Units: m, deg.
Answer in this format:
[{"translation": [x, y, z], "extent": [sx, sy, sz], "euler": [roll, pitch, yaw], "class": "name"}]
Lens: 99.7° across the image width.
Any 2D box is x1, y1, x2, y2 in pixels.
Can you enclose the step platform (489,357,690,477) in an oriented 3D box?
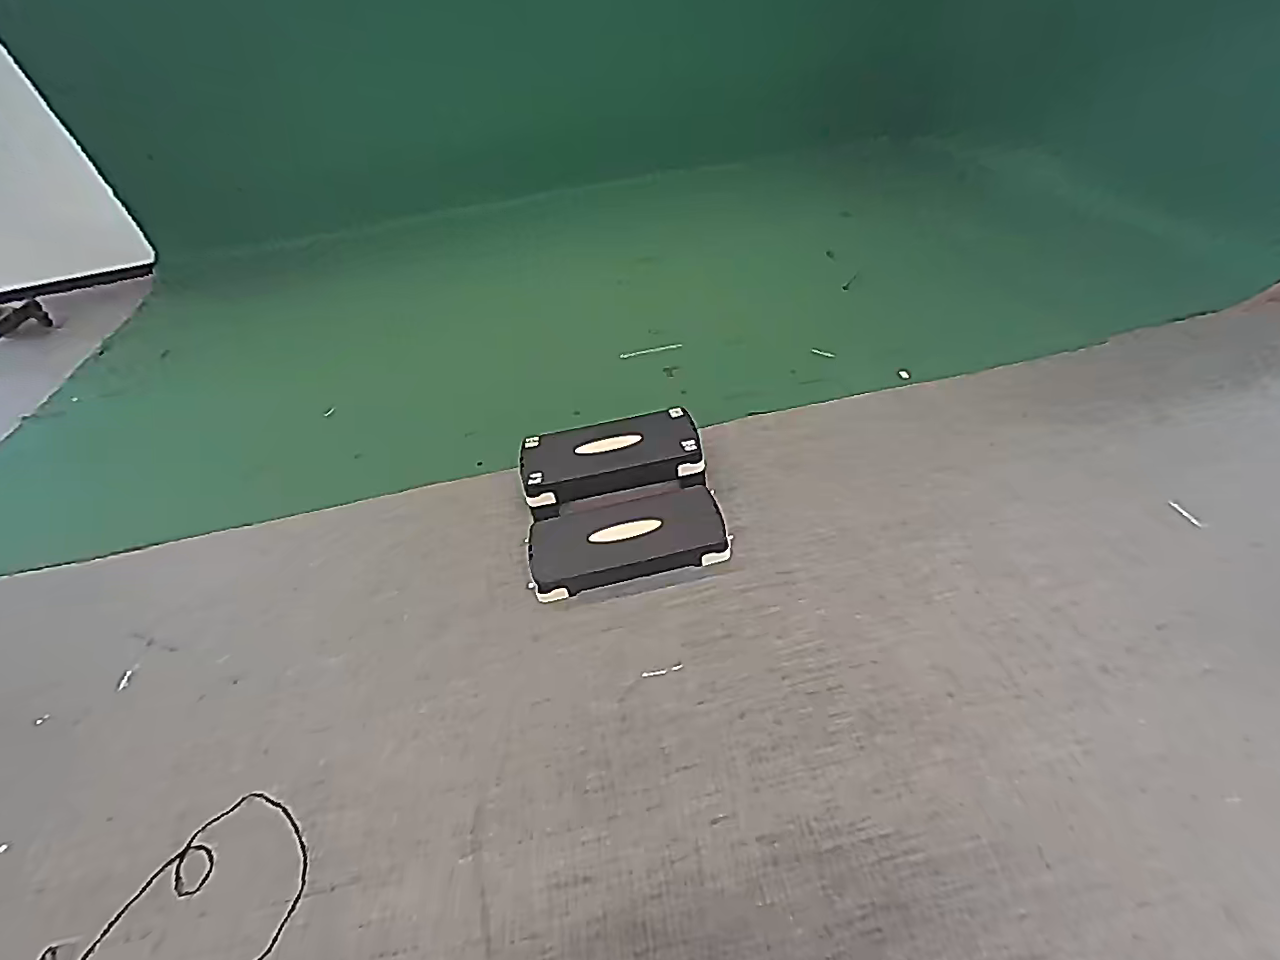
[{"translation": [-0.169, -0.225, 1.917], "extent": [0.684, 0.204, 0.286], "euler": [-13, 46, -3], "class": "step platform"}]
